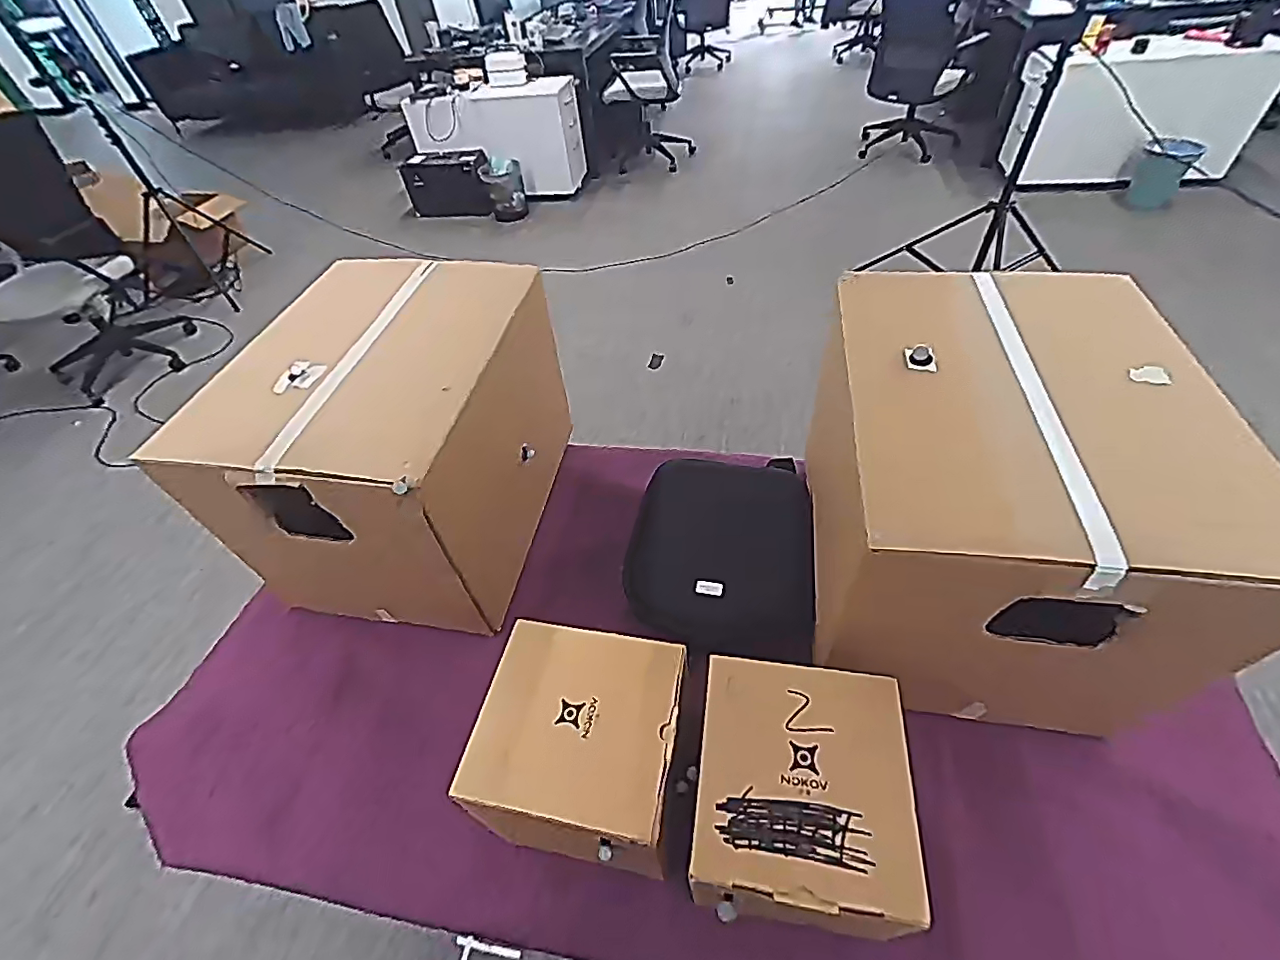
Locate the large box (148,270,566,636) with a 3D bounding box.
[{"bbox_3d":[-0.312,-0.046,0.760,0.320,0.320,0.408,4,51,9],"label":"large box"}]
